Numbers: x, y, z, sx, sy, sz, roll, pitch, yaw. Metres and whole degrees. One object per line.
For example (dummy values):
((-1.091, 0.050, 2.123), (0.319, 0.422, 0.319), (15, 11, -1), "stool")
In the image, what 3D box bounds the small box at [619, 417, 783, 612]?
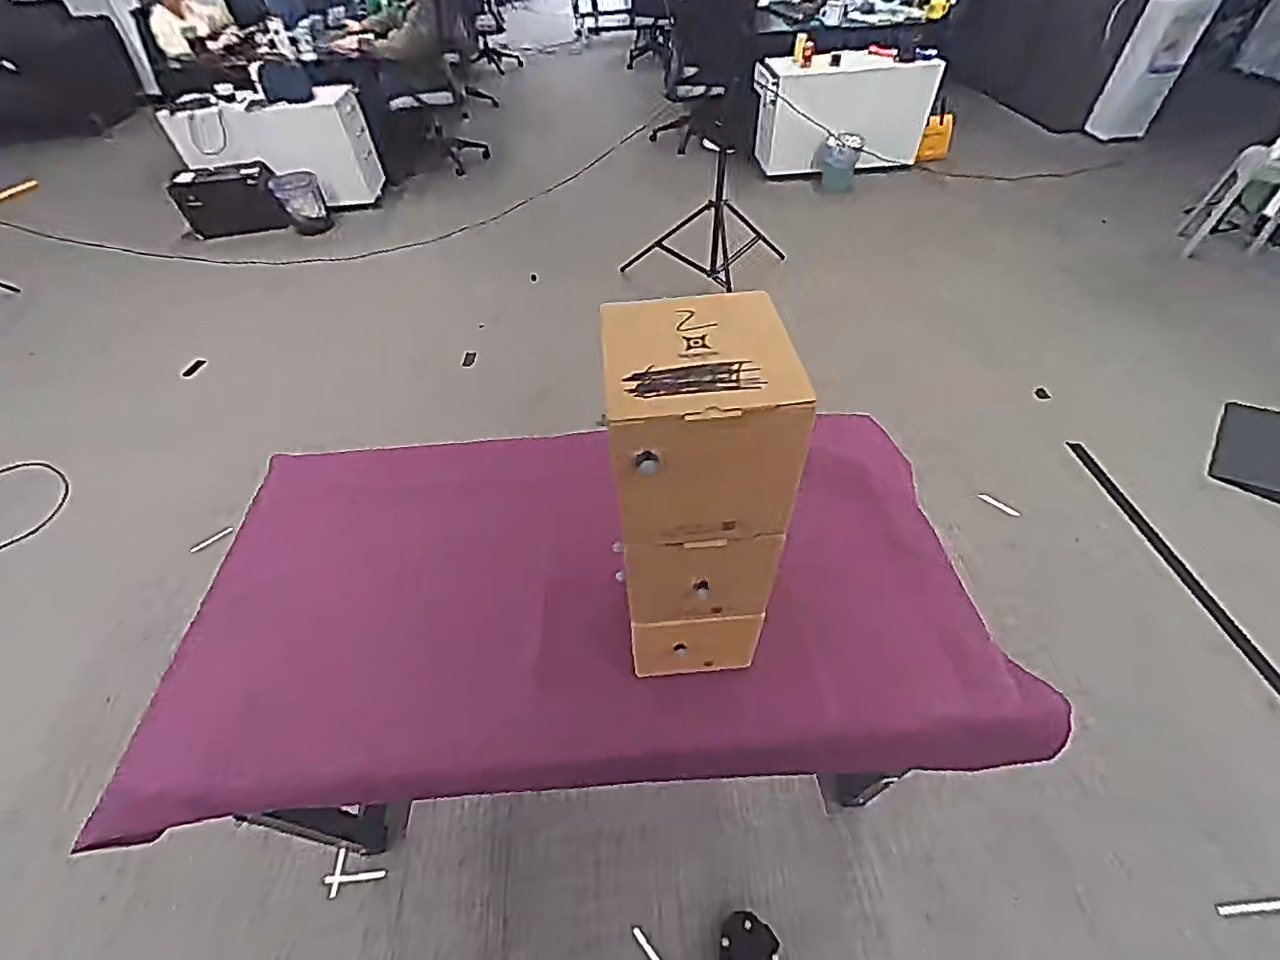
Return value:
((0.064, 0.048, 0.652), (0.168, 0.176, 0.179), (-4, 49, 0), "small box")

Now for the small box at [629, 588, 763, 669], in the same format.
((0.070, 0.158, 0.773), (0.168, 0.176, 0.179), (-5, 49, -1), "small box")
